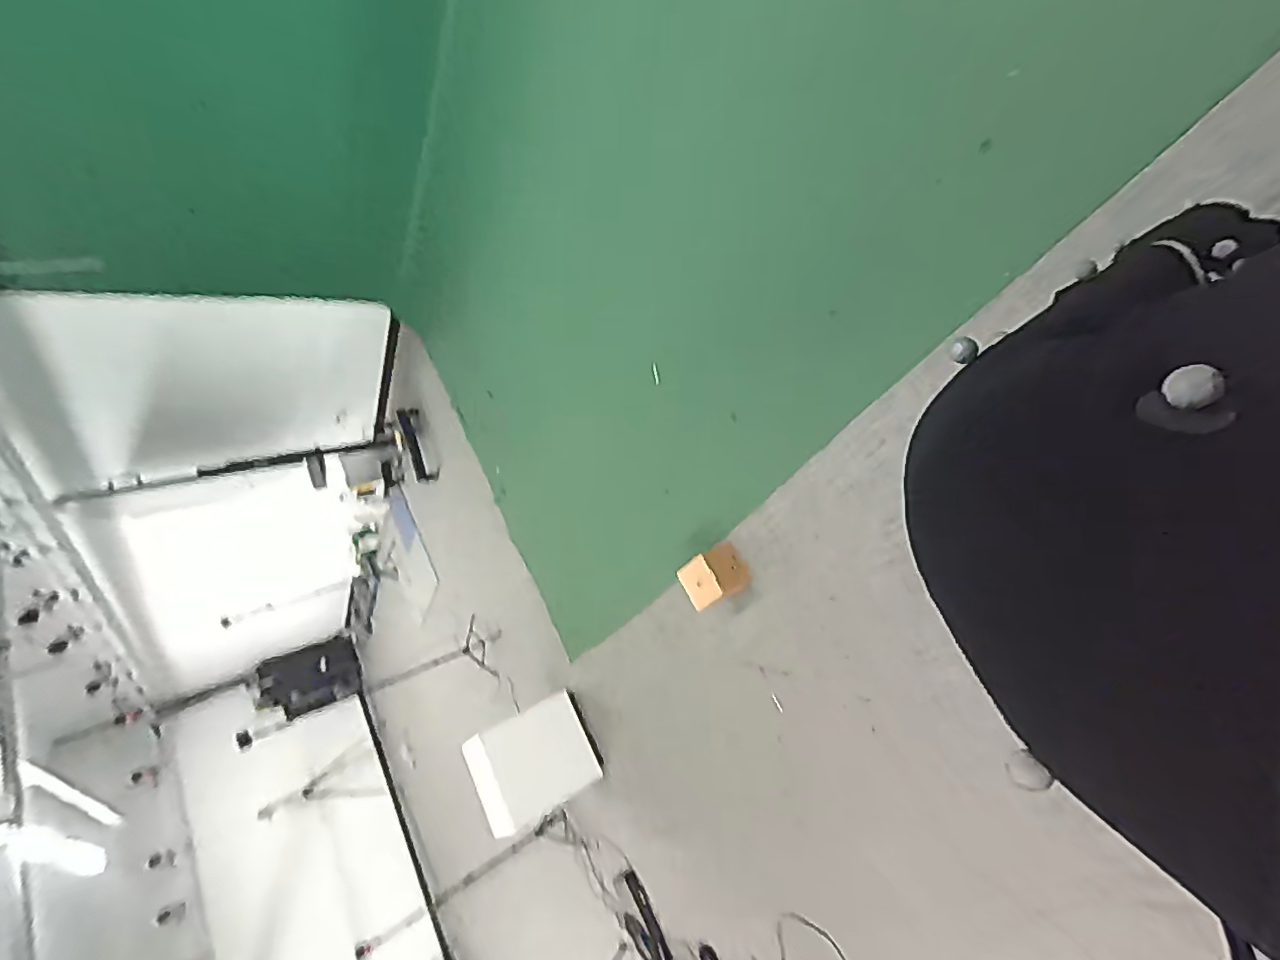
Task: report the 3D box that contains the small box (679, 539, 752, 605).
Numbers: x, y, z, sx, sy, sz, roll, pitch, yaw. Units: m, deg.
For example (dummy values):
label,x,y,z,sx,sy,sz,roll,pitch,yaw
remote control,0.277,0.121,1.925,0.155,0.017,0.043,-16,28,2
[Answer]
label,x,y,z,sx,sy,sz,roll,pitch,yaw
small box,0.287,0.345,2.043,0.168,0.176,0.179,59,137,19
